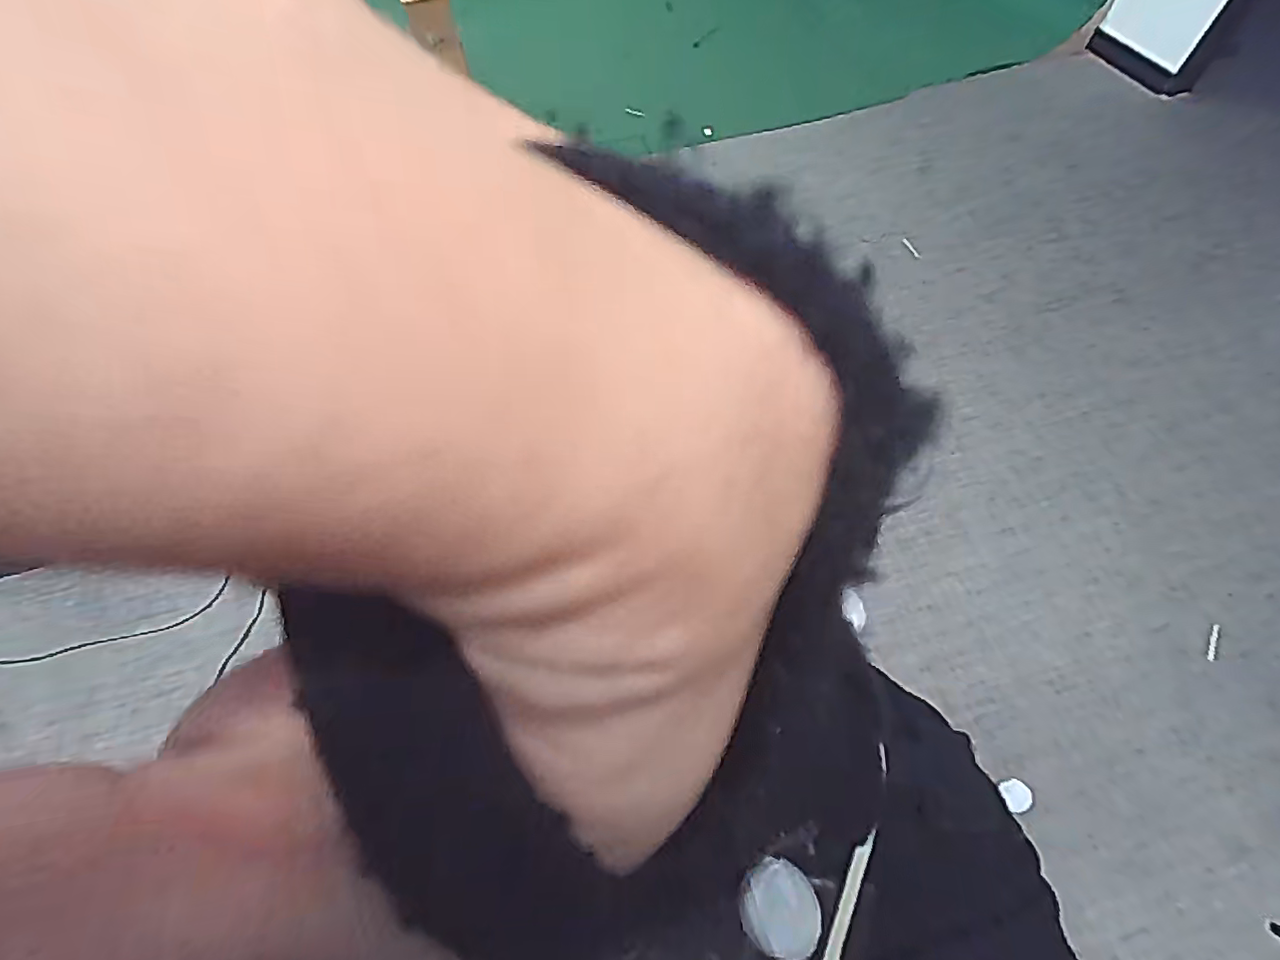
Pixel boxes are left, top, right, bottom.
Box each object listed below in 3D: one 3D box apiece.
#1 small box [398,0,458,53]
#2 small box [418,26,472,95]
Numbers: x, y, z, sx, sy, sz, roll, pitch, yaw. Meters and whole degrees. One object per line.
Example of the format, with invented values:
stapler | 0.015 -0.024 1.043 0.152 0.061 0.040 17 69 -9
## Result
small box | -0.818 -1.791 2.081 0.168 0.176 0.179 -17 62 -4
small box | -0.805 -1.719 2.227 0.168 0.176 0.179 -14 61 -4
